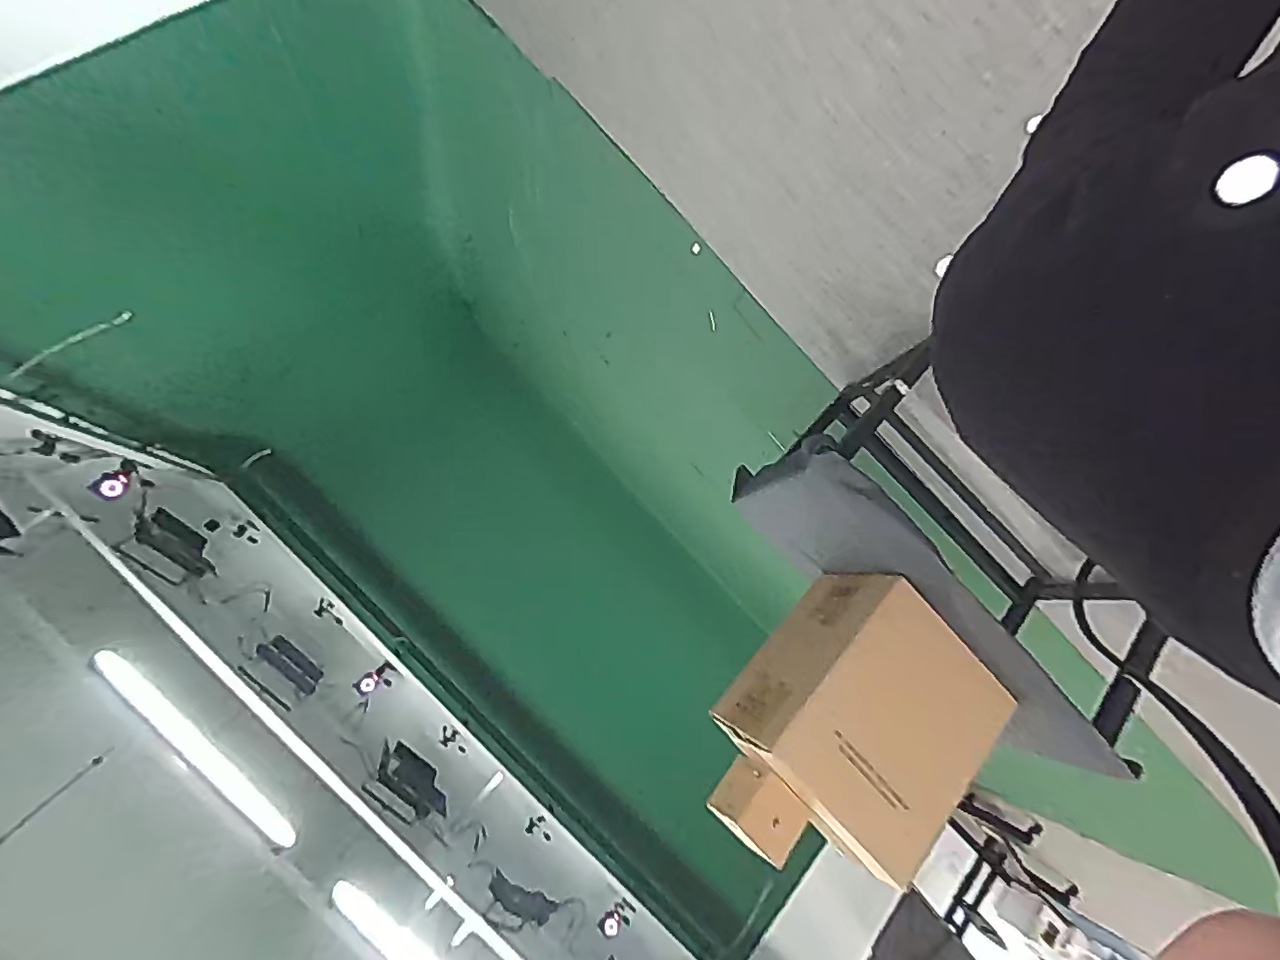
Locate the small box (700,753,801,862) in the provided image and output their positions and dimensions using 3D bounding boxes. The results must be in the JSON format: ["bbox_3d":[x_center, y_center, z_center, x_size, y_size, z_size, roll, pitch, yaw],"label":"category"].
[{"bbox_3d":[0.308,0.899,1.505,0.179,0.176,0.168,47,156,-6],"label":"small box"}]
